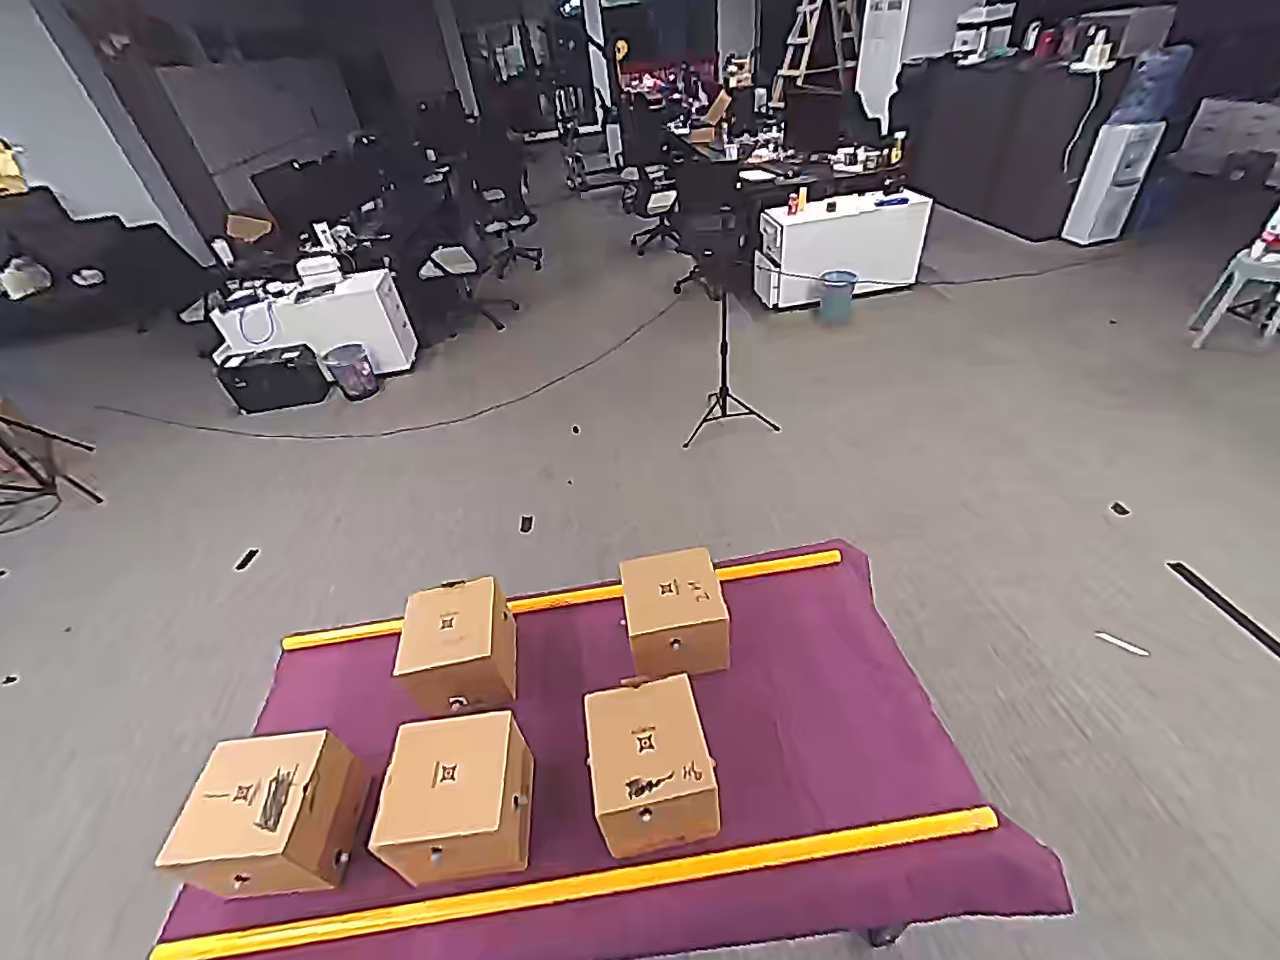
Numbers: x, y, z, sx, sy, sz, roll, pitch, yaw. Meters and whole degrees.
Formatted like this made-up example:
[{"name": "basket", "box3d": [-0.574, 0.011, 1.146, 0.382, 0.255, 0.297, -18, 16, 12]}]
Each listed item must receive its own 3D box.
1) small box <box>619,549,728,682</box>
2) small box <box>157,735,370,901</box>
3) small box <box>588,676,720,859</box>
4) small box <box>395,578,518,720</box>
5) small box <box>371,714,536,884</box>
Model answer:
[{"name": "small box", "box3d": [0.064, 0.259, 1.020, 0.179, 0.176, 0.168, -9, 41, -2]}, {"name": "small box", "box3d": [-0.544, 0.511, 0.817, 0.179, 0.176, 0.168, -7, 39, 1]}, {"name": "small box", "box3d": [0.020, 0.433, 0.820, 0.168, 0.176, 0.179, -11, 37, -3]}, {"name": "small box", "box3d": [-0.333, 0.317, 1.018, 0.168, 0.176, 0.179, -12, 41, -3]}, {"name": "small box", "box3d": [-0.261, 0.479, 0.812, 0.179, 0.176, 0.168, -9, 39, 1]}]
